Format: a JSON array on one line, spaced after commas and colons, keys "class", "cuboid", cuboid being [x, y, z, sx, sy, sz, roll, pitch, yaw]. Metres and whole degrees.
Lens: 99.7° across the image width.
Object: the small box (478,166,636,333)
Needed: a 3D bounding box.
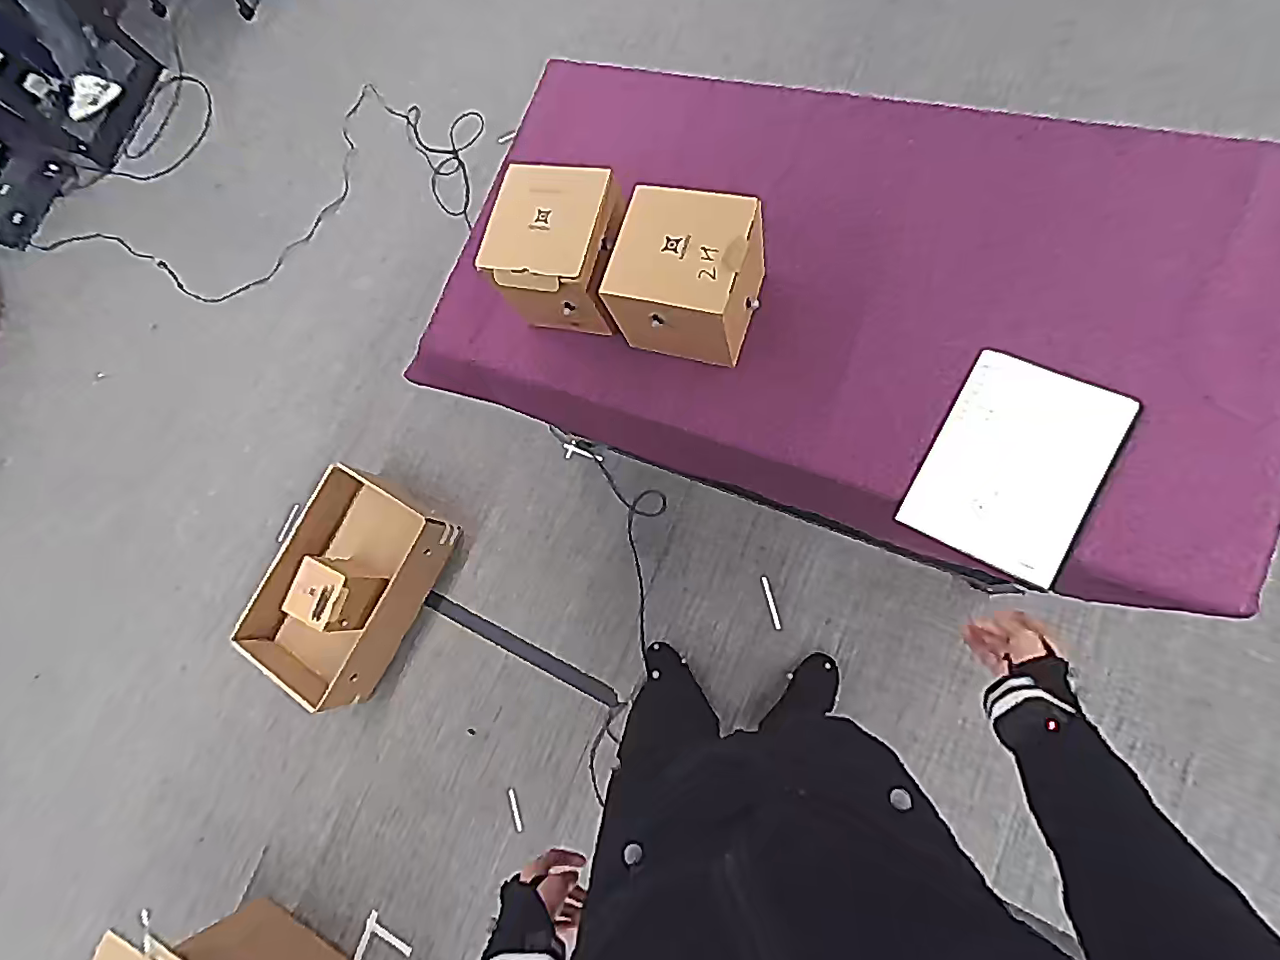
[{"class": "small box", "cuboid": [-0.117, -0.348, 0.840, 0.168, 0.176, 0.179, 13, 81, 16]}]
